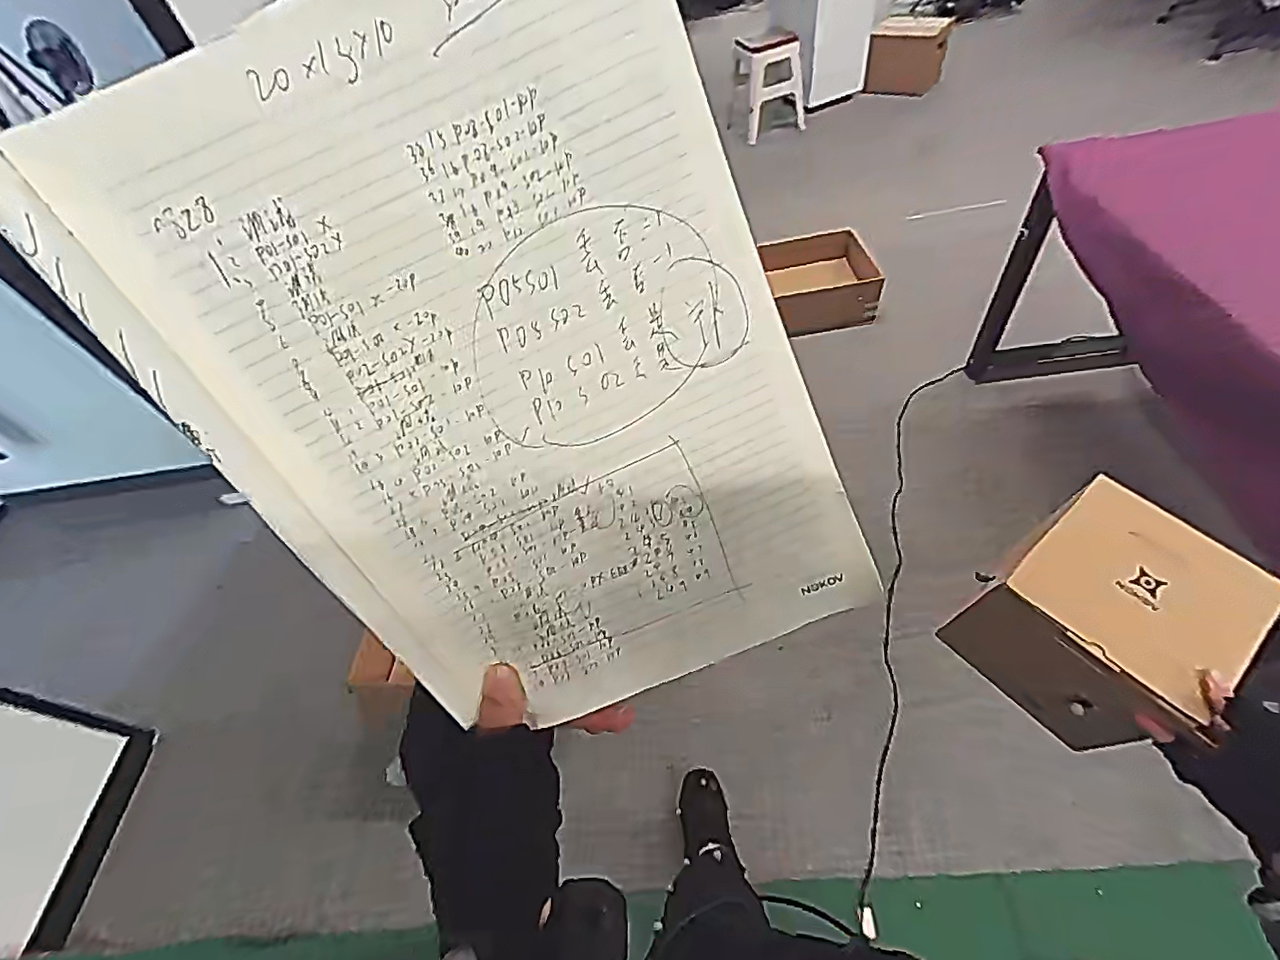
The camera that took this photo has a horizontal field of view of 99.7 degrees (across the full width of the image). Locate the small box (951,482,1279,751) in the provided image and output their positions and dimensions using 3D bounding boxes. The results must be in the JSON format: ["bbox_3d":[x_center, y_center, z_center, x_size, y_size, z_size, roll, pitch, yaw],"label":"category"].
[{"bbox_3d":[0.451,0.143,0.544,0.179,0.176,0.168,-36,61,-17],"label":"small box"}]
